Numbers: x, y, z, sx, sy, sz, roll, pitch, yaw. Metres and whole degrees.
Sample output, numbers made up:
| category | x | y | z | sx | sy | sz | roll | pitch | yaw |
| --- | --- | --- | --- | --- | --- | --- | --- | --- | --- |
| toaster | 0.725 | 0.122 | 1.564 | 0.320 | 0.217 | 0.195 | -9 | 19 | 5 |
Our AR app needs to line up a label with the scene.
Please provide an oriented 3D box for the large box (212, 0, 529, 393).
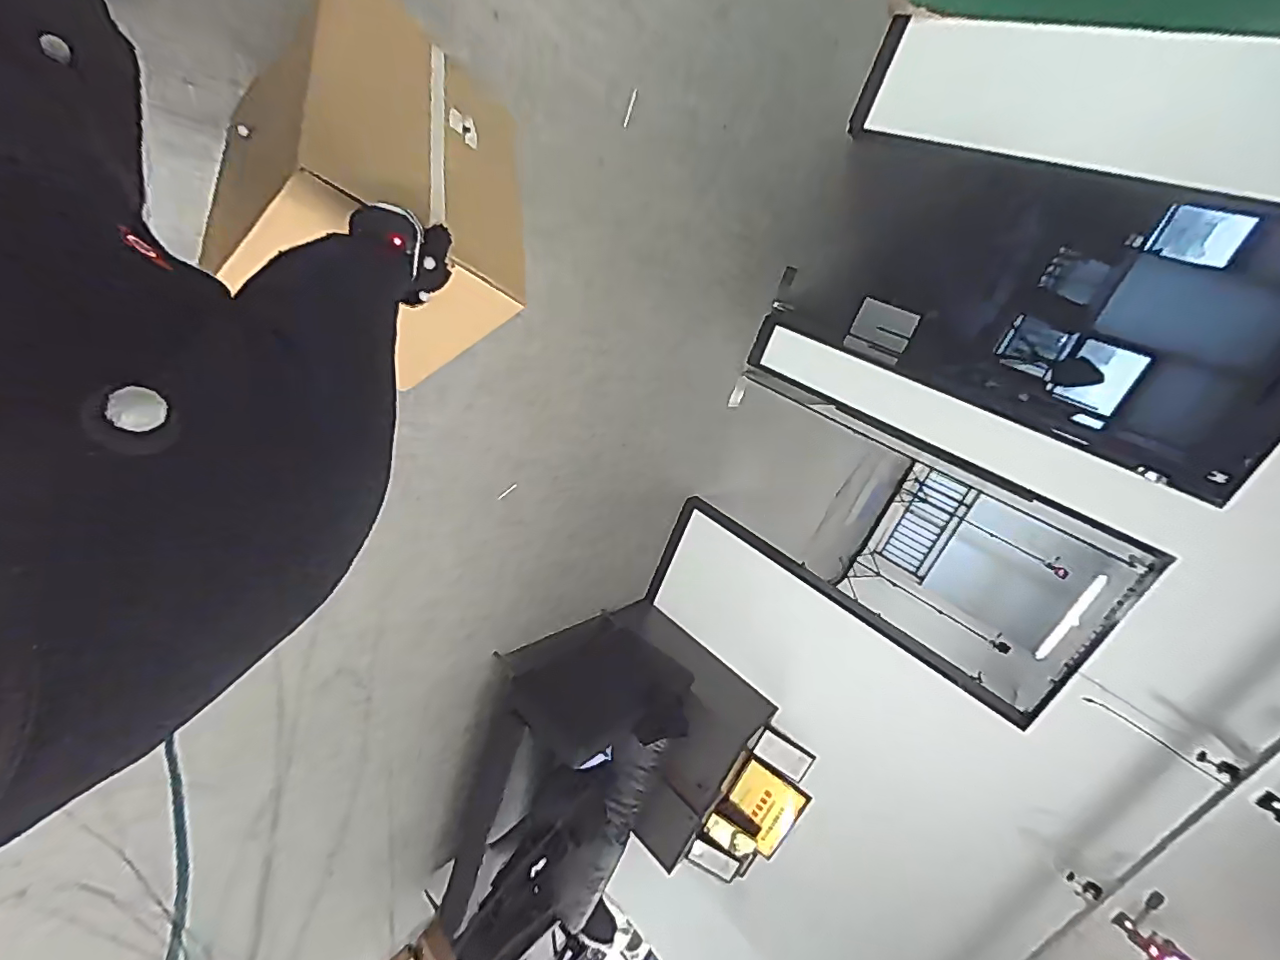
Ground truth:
| category | x | y | z | sx | sy | sz | roll | pitch | yaw |
| --- | --- | --- | --- | --- | --- | --- | --- | --- | --- |
| large box | -0.405 | -0.408 | 0.835 | 0.320 | 0.408 | 0.320 | -23 | 154 | 30 |
